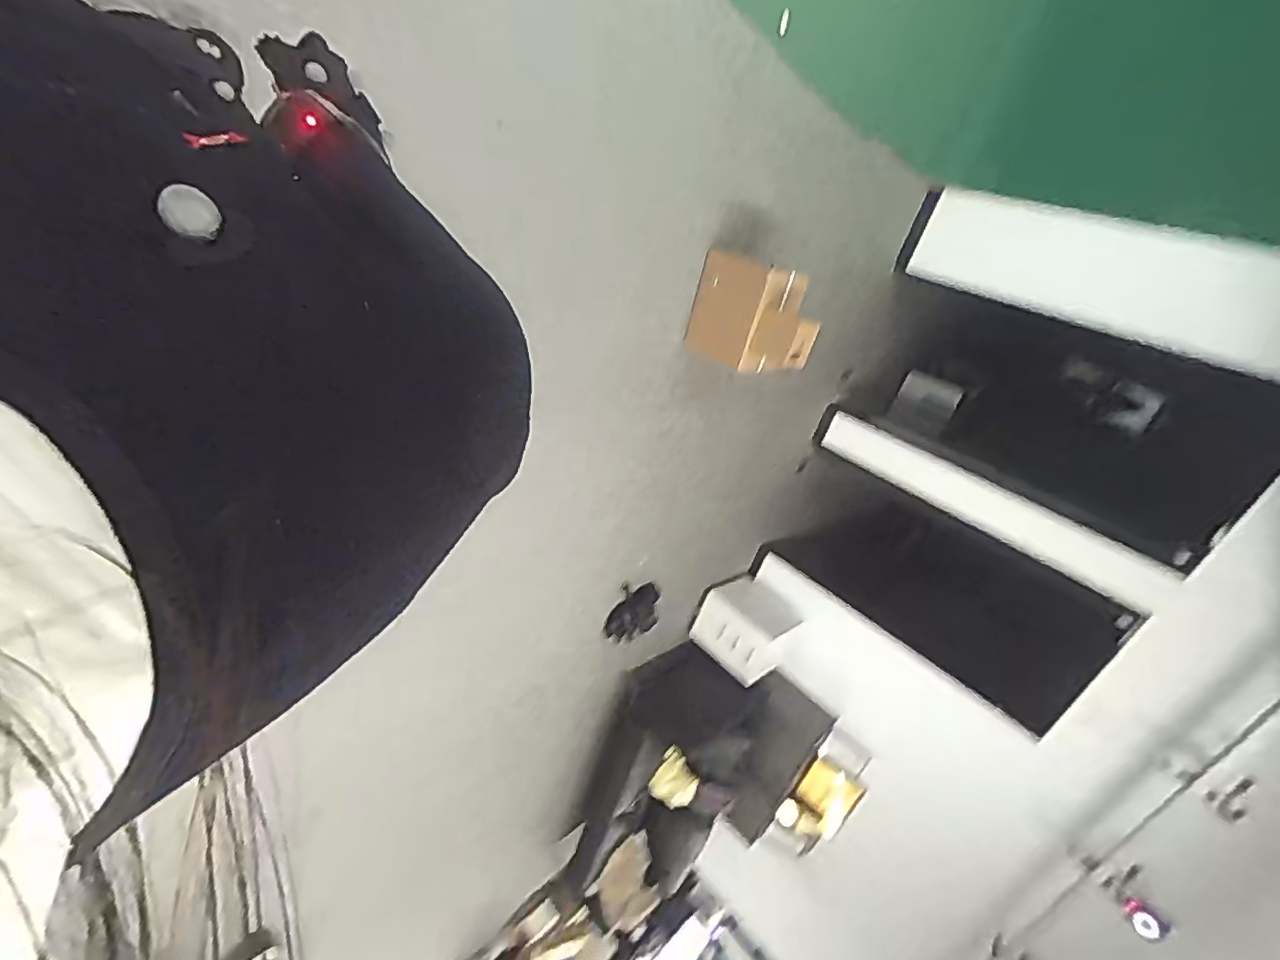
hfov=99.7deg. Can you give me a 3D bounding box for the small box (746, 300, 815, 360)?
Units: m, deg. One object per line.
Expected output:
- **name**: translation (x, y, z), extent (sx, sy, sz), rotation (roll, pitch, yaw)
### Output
- **small box**: translation (0.538, -0.580, 2.097), extent (0.168, 0.176, 0.179), rotation (-10, 126, -47)
